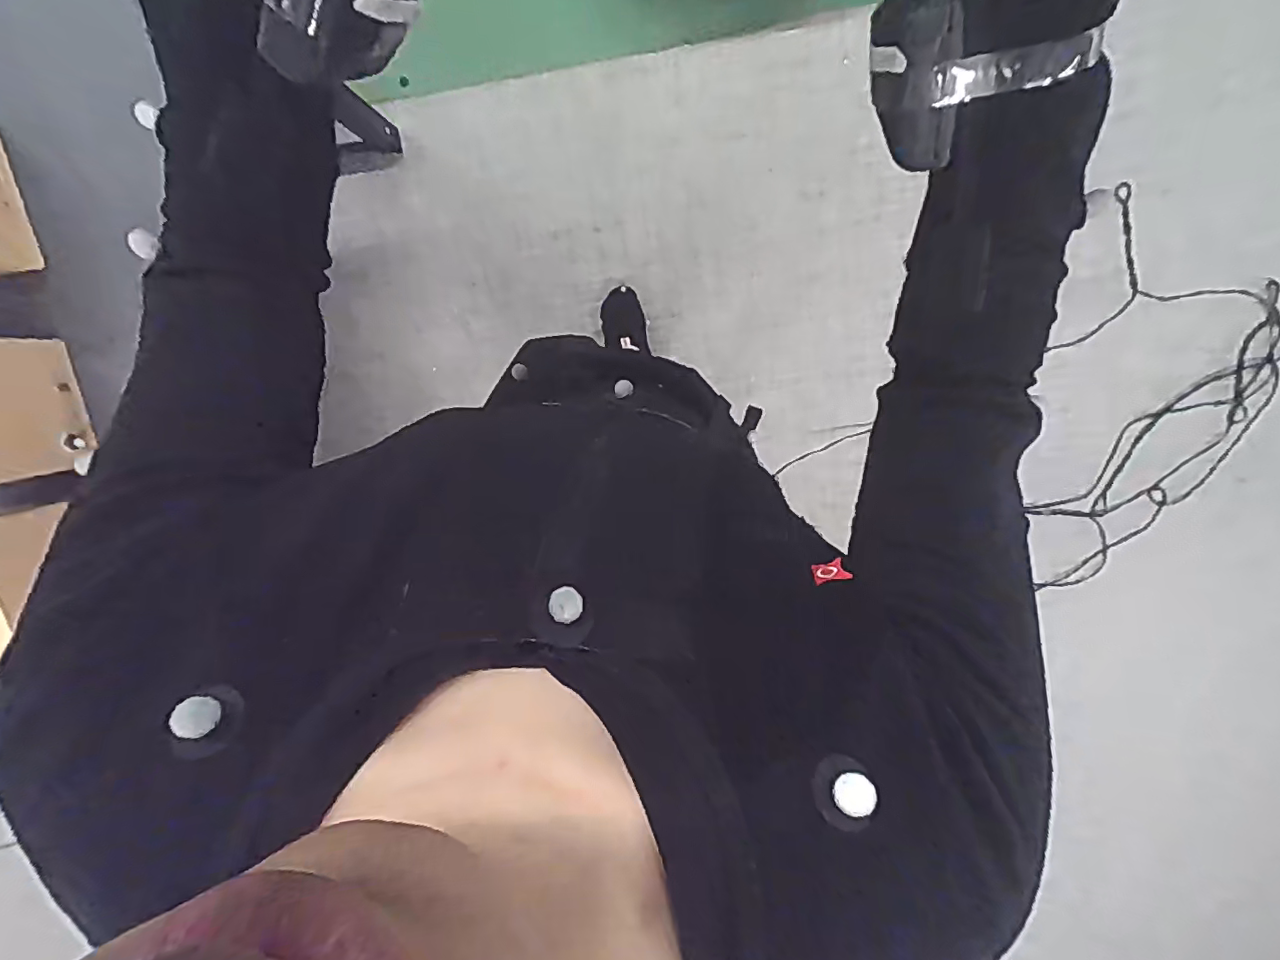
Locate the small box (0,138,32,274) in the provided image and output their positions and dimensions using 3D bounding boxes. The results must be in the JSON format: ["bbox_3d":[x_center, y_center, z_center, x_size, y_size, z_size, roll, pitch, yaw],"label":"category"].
[{"bbox_3d":[-0.839,-0.318,0.588,0.179,0.176,0.168,-6,103,4],"label":"small box"}]
